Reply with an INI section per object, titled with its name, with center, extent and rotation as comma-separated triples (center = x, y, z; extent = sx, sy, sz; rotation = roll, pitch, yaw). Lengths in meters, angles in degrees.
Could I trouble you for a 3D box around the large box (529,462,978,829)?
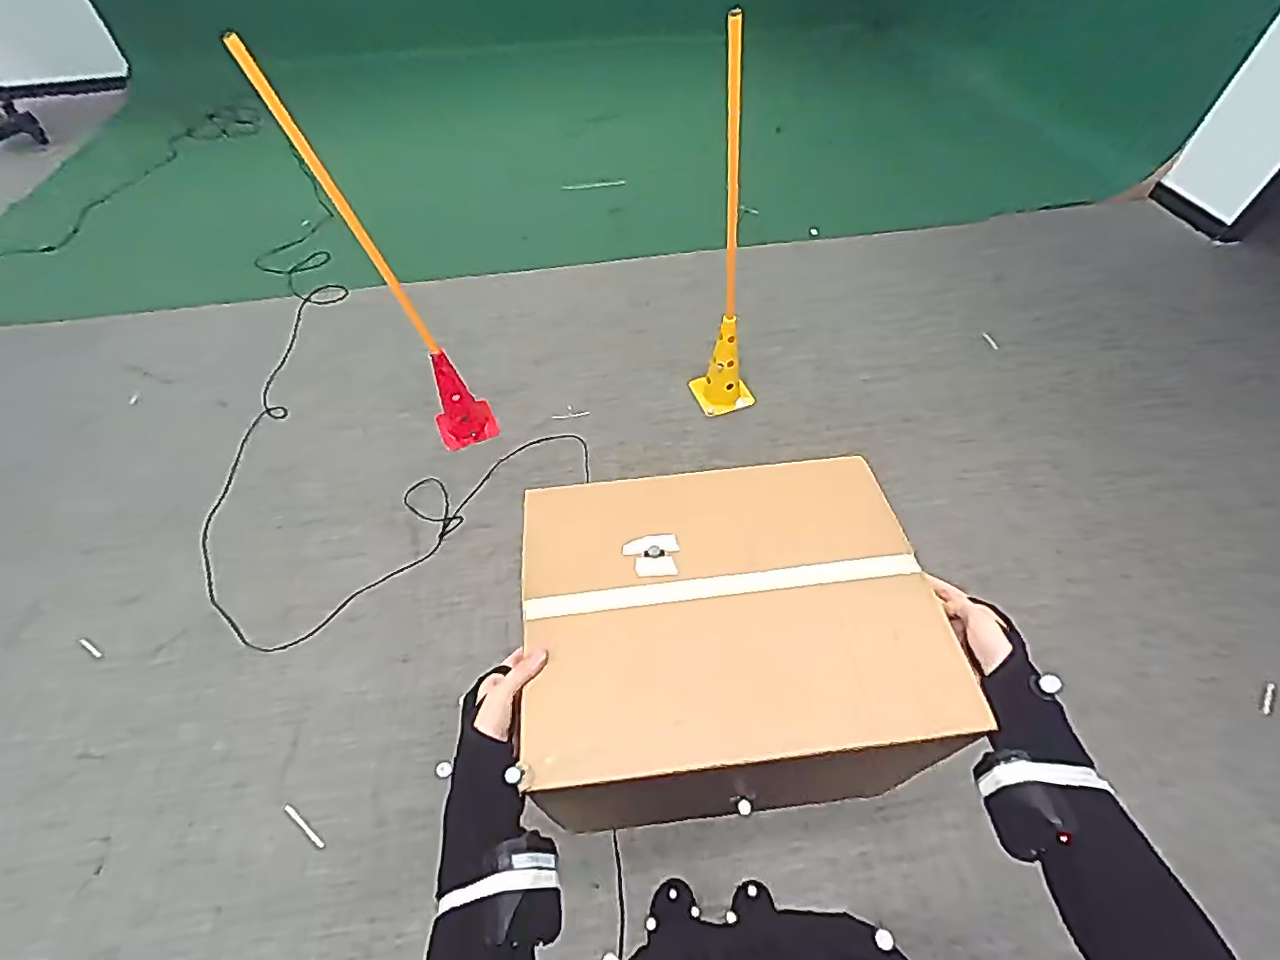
[large box]
center = 0.094, 0.213, 0.673
extent = 0.408, 0.320, 0.320
rotation = -7, 50, -2
